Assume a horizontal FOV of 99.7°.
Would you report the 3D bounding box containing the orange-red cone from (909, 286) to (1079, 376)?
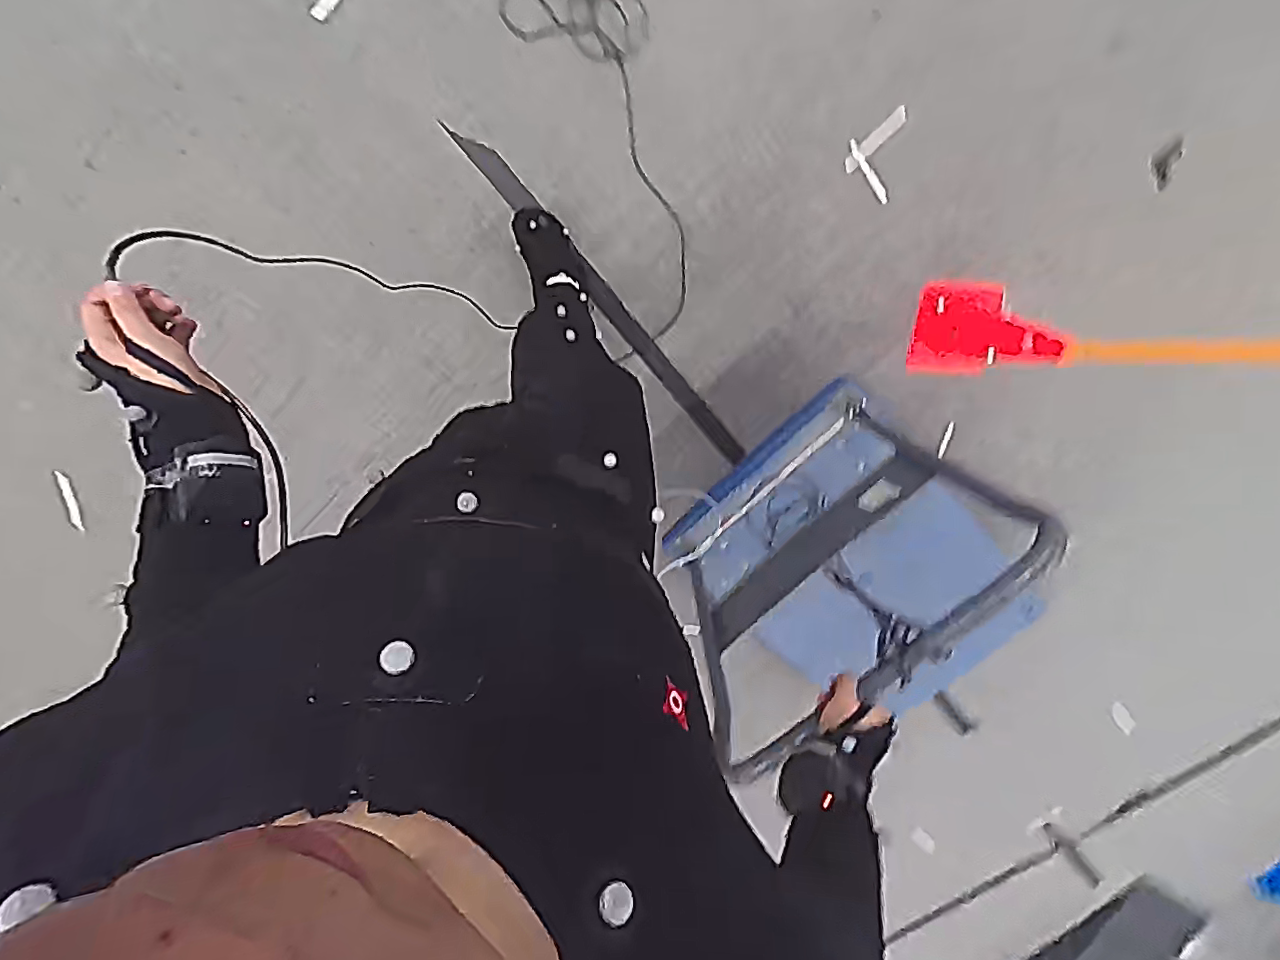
[{"bbox_3d":[0.760,-0.284,1.125,0.198,0.360,0.199,3,113,-4],"label":"orange-red cone"}]
